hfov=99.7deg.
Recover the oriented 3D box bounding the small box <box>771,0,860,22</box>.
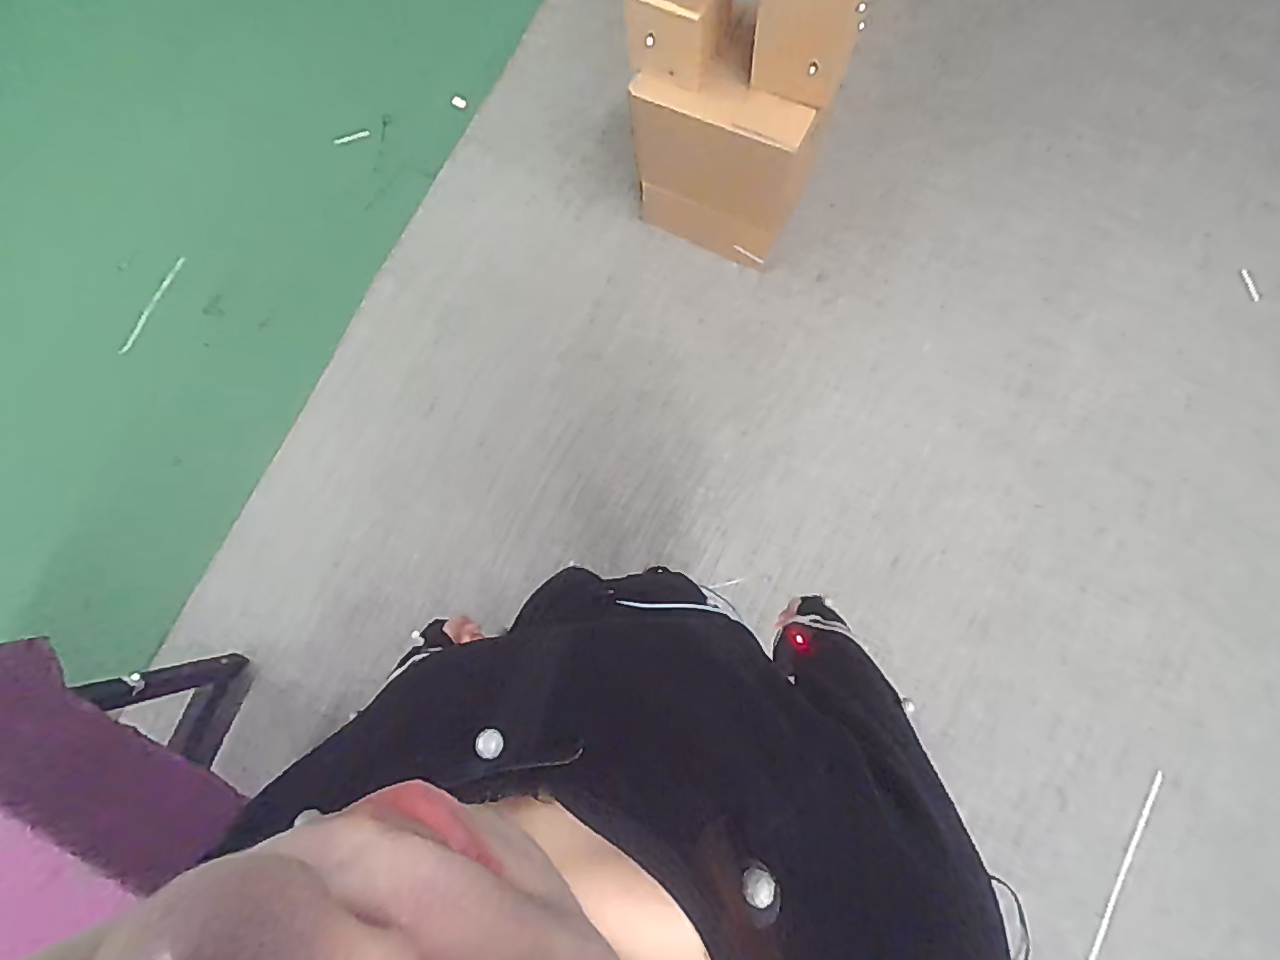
[{"bbox_3d":[0.334,-0.947,0.928,0.179,0.176,0.168,27,84,9],"label":"small box"}]

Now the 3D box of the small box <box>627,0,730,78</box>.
[{"bbox_3d":[0.085,-0.991,1.117,0.168,0.176,0.179,28,85,7],"label":"small box"}]

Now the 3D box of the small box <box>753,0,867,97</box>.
[{"bbox_3d":[0.345,-0.924,1.090,0.179,0.176,0.168,25,84,9],"label":"small box"}]
